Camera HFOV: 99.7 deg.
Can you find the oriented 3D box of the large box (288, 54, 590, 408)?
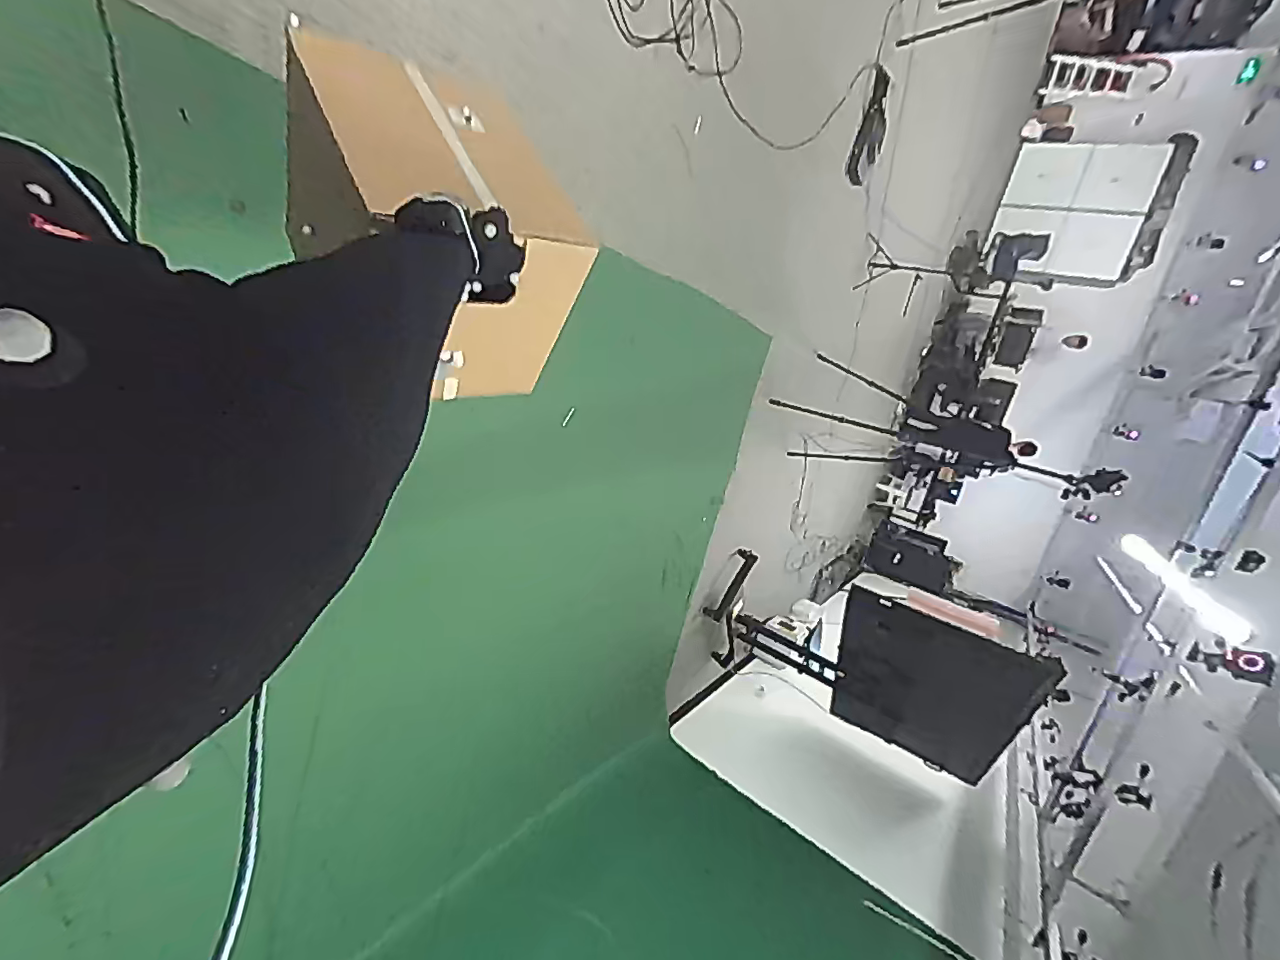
[{"bbox_3d":[-0.345,-0.372,0.875,0.320,0.408,0.320,-11,151,-40],"label":"large box"}]
